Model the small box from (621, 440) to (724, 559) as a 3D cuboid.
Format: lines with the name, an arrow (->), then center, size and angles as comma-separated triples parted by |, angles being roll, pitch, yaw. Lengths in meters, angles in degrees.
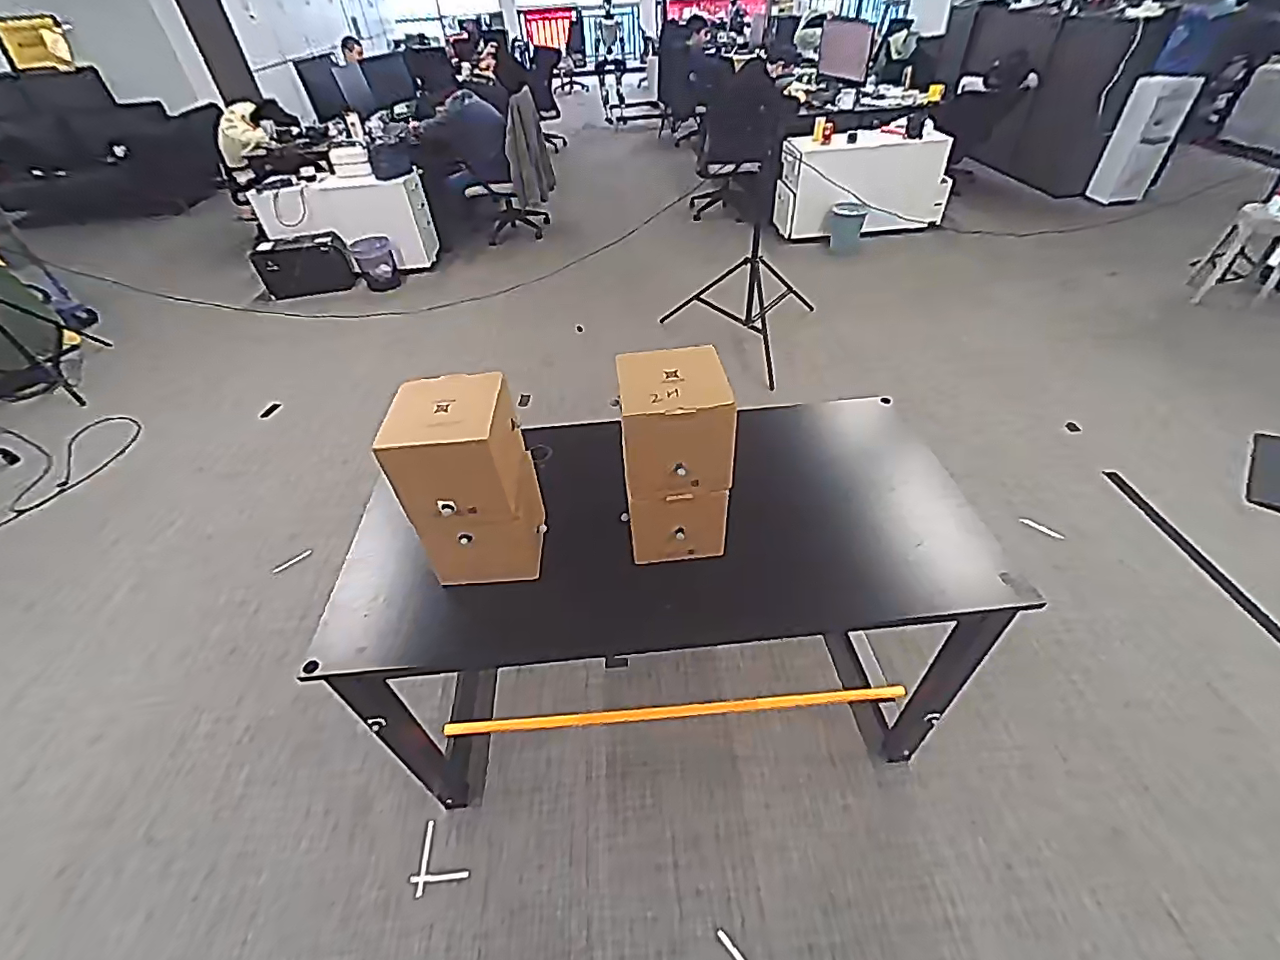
small box -> 0.058, 0.032, 0.999 | 0.168, 0.176, 0.179 | -6, 43, -2

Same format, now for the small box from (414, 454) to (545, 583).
small box -> -0.278, 0.073, 0.980 | 0.179, 0.176, 0.168 | -4, 43, -1

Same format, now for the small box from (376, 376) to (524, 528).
small box -> -0.289, -0.045, 0.868 | 0.168, 0.176, 0.179 | -6, 44, 0

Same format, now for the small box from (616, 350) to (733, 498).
small box -> 0.051, -0.093, 0.891 | 0.168, 0.176, 0.179 | -7, 42, -2
